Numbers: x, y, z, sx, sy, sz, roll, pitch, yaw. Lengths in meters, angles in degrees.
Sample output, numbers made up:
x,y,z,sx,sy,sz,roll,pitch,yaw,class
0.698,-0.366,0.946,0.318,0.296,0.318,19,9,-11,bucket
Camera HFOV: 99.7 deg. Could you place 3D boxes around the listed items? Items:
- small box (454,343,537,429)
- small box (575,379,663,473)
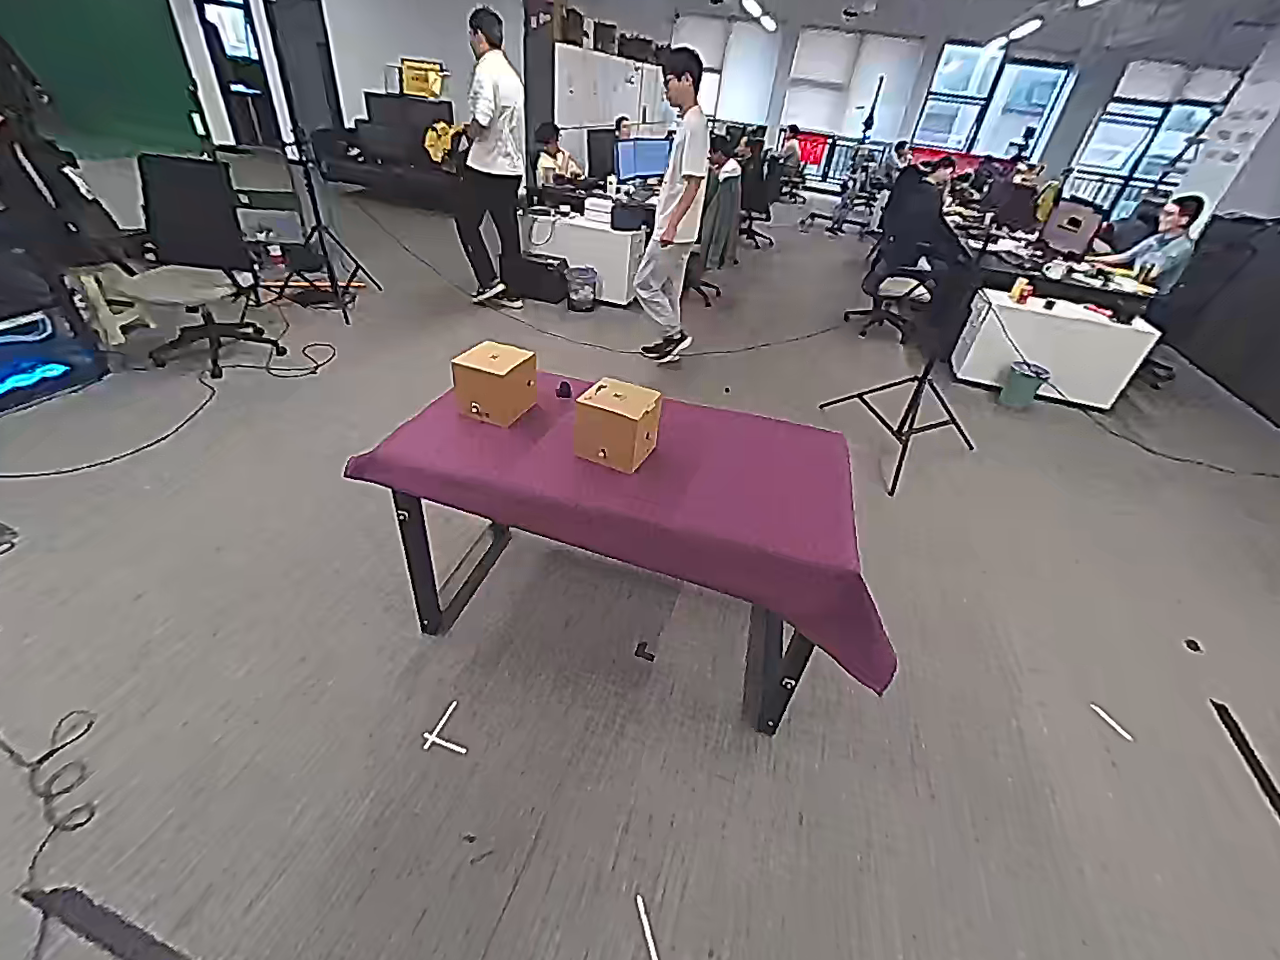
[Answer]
x,y,z,sx,sy,sz,roll,pitch,yaw,class
-0.409,-0.270,1.553,0.168,0.176,0.179,16,38,14,small box
-0.058,-0.141,1.436,0.179,0.176,0.168,20,37,16,small box
